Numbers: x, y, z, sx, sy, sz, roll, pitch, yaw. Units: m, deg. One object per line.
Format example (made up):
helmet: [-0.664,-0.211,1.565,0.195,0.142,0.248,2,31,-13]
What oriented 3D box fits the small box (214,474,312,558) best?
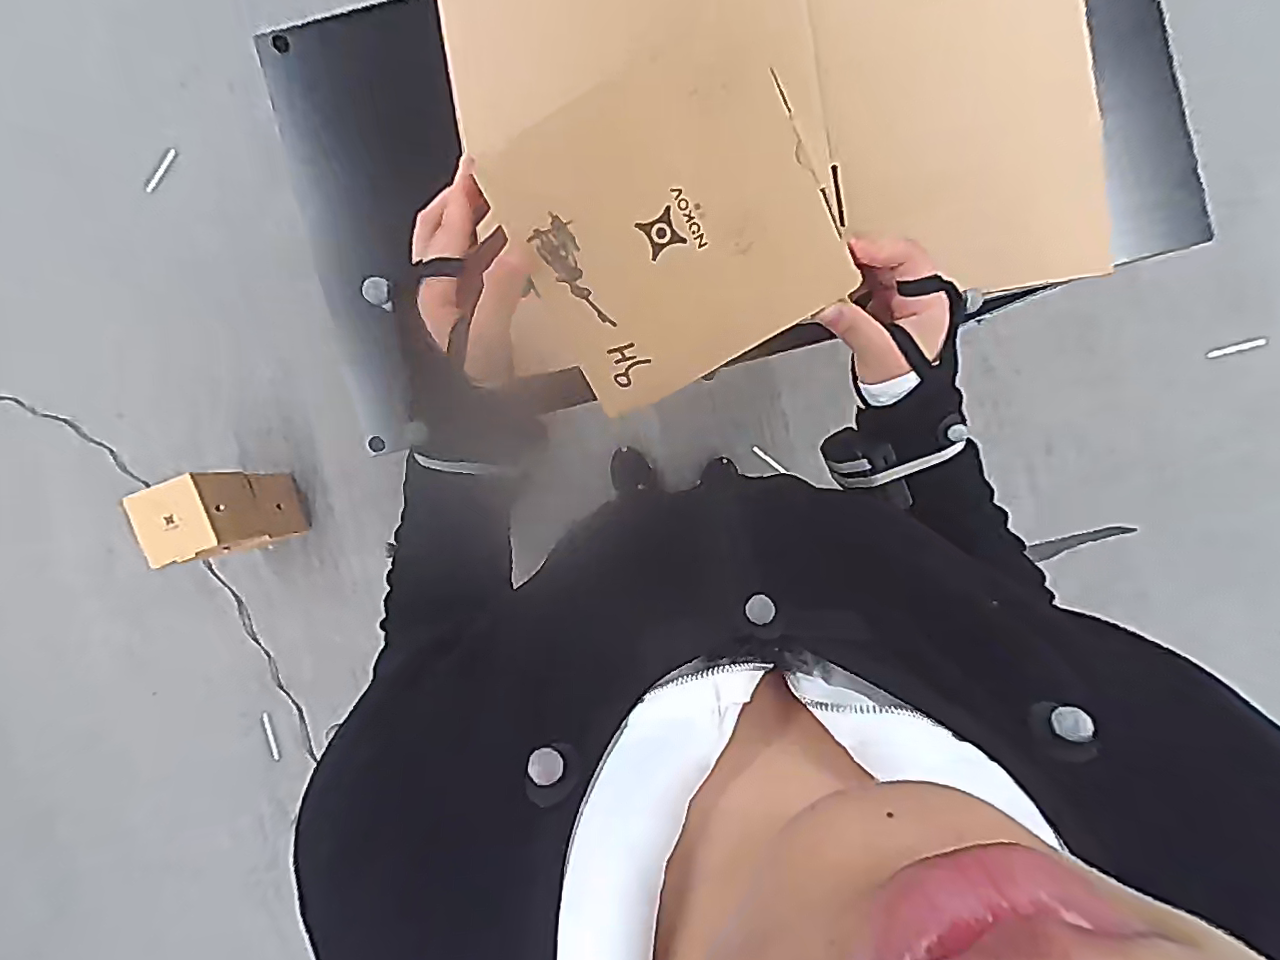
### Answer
small box: [-1.026,0.090,1.445,0.168,0.176,0.179,-19,93,2]

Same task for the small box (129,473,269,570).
small box: [-1.031,0.091,1.282,0.168,0.176,0.179,-21,91,1]
